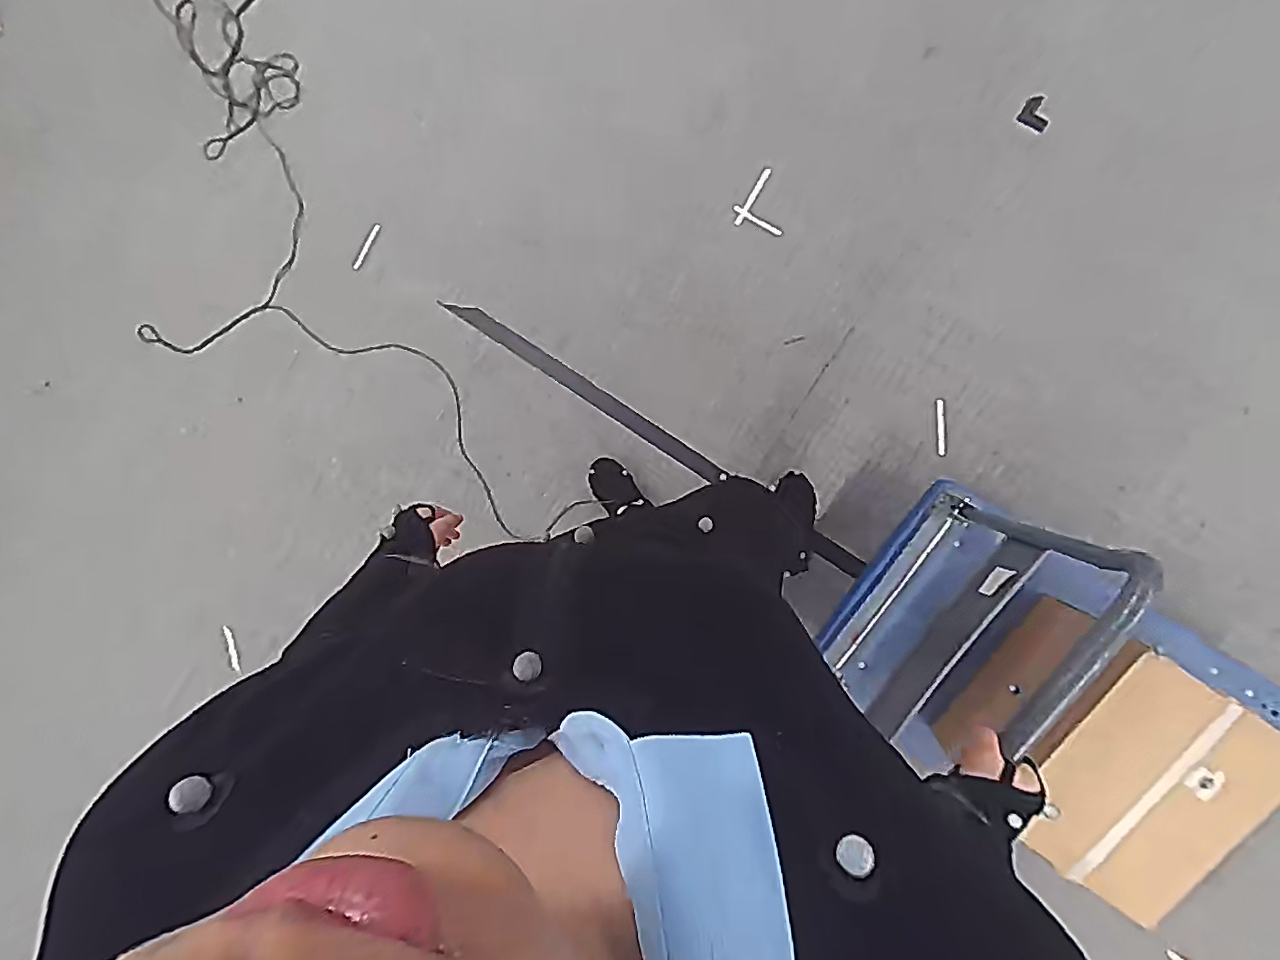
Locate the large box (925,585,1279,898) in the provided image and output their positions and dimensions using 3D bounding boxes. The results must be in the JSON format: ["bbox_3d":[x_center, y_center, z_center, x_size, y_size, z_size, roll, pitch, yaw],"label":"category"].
[{"bbox_3d":[0.875,0.489,1.093,0.320,0.320,0.408,35,98,4],"label":"large box"}]
